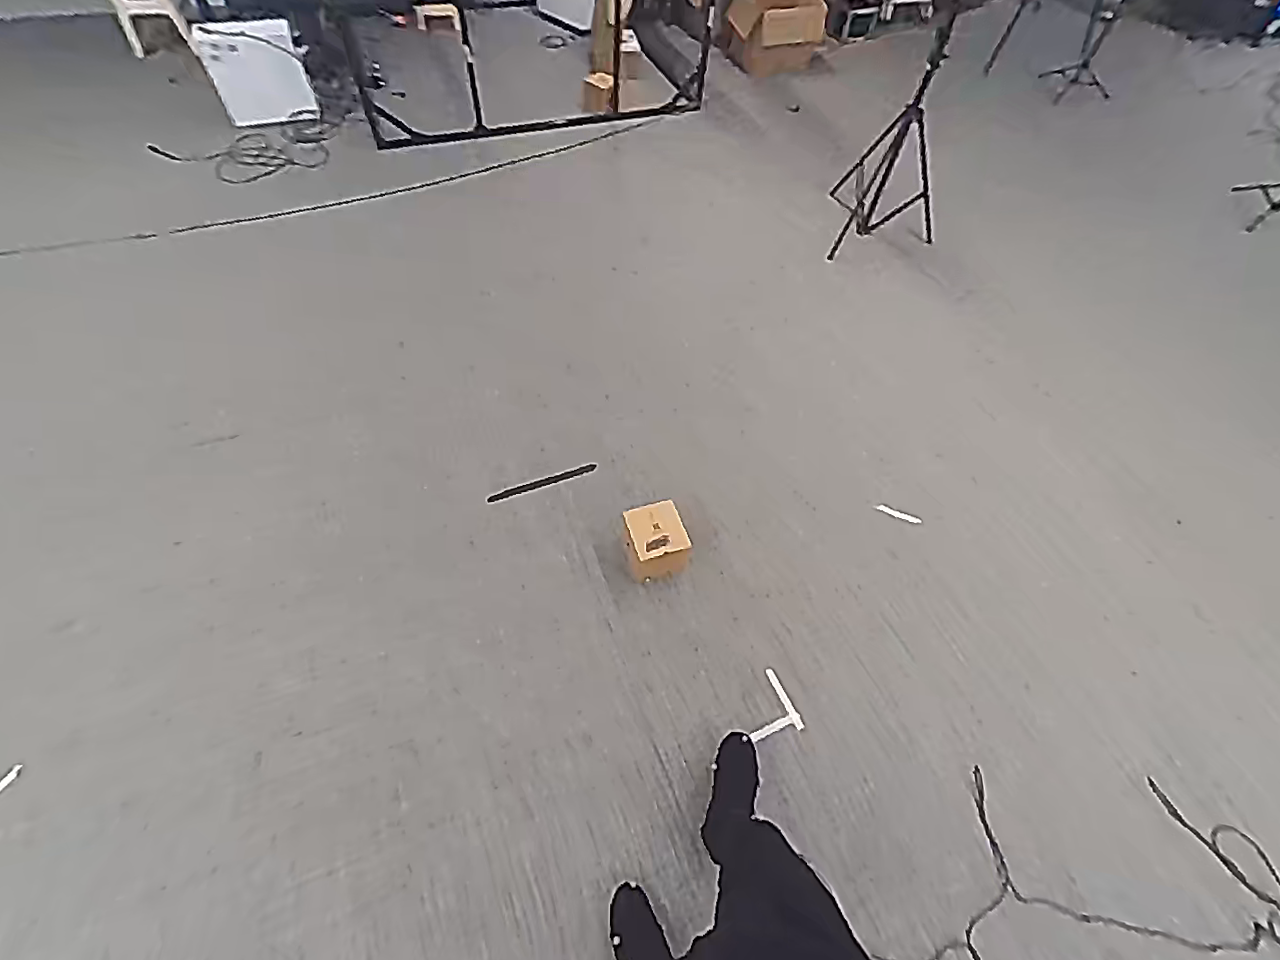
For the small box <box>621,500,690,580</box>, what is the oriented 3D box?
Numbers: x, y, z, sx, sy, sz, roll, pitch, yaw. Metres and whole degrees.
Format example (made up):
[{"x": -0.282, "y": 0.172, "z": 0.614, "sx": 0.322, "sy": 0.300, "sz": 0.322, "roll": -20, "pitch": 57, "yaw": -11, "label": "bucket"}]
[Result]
[{"x": 0.043, "y": 0.194, "z": 1.679, "sx": 0.168, "sy": 0.176, "sz": 0.179, "roll": -14, "pitch": 58, "yaw": -13, "label": "small box"}]
